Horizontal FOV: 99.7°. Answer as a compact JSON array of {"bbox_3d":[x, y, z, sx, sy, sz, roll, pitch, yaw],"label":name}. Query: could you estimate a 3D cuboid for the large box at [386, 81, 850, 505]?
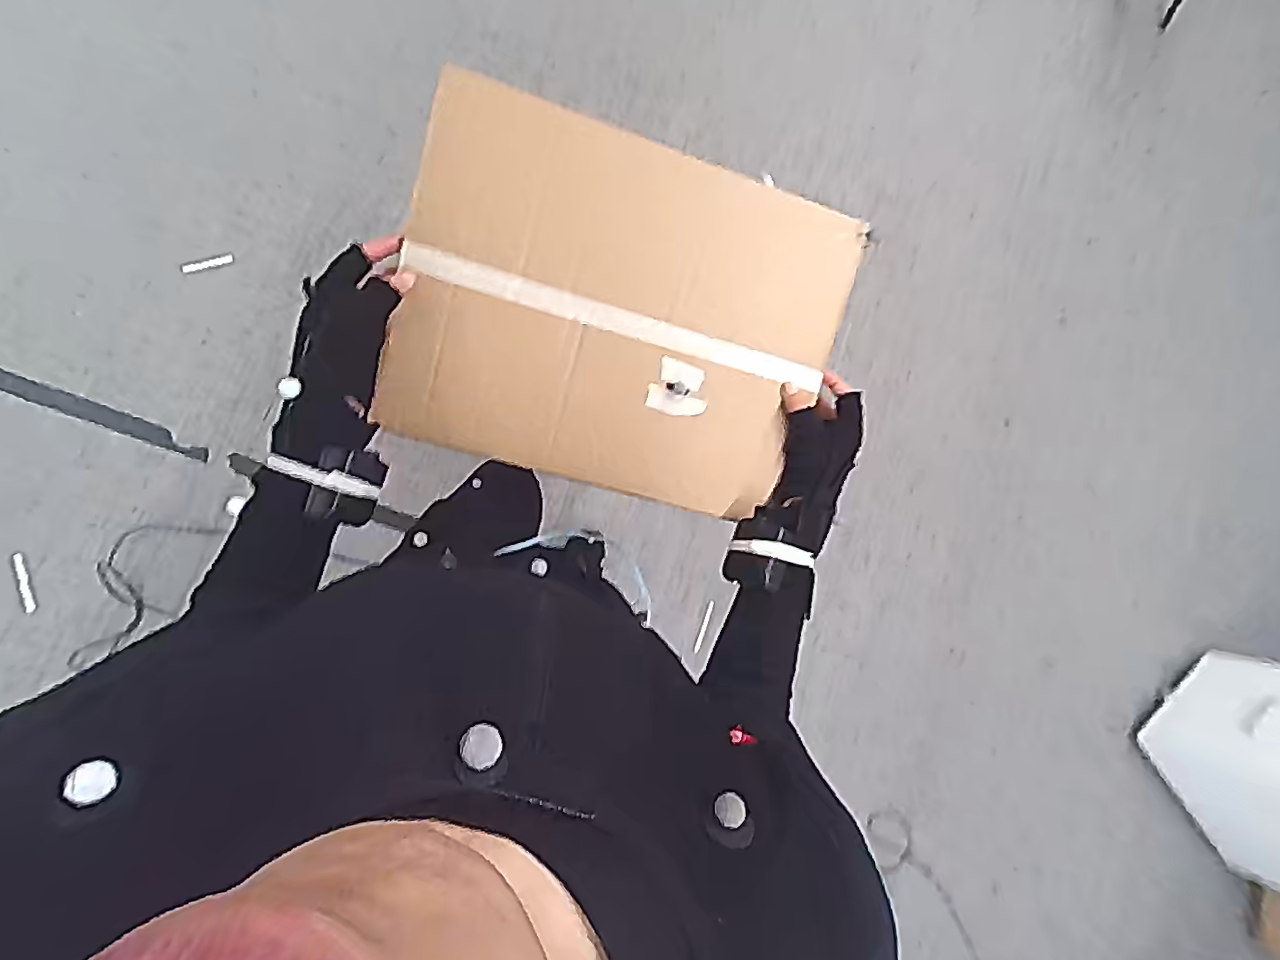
[{"bbox_3d":[-0.038,-0.187,0.669,0.408,0.320,0.320,14,99,-10],"label":"large box"}]
